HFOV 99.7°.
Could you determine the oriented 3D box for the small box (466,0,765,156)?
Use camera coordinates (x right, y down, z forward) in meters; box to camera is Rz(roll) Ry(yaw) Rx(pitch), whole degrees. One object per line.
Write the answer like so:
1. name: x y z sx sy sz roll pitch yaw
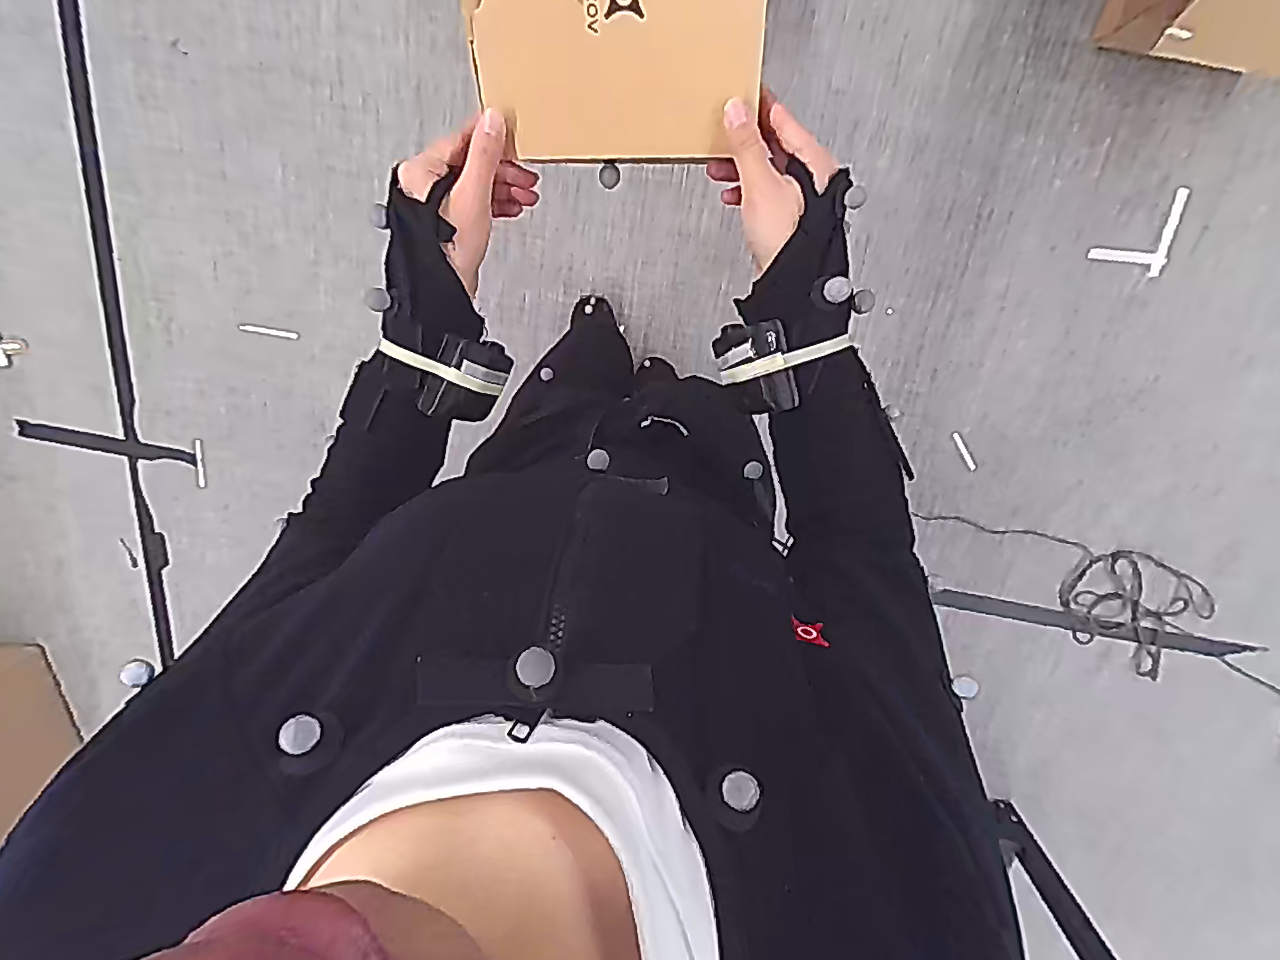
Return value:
1. small box: -0.014 -0.324 0.375 0.179 0.176 0.168 0 120 1
